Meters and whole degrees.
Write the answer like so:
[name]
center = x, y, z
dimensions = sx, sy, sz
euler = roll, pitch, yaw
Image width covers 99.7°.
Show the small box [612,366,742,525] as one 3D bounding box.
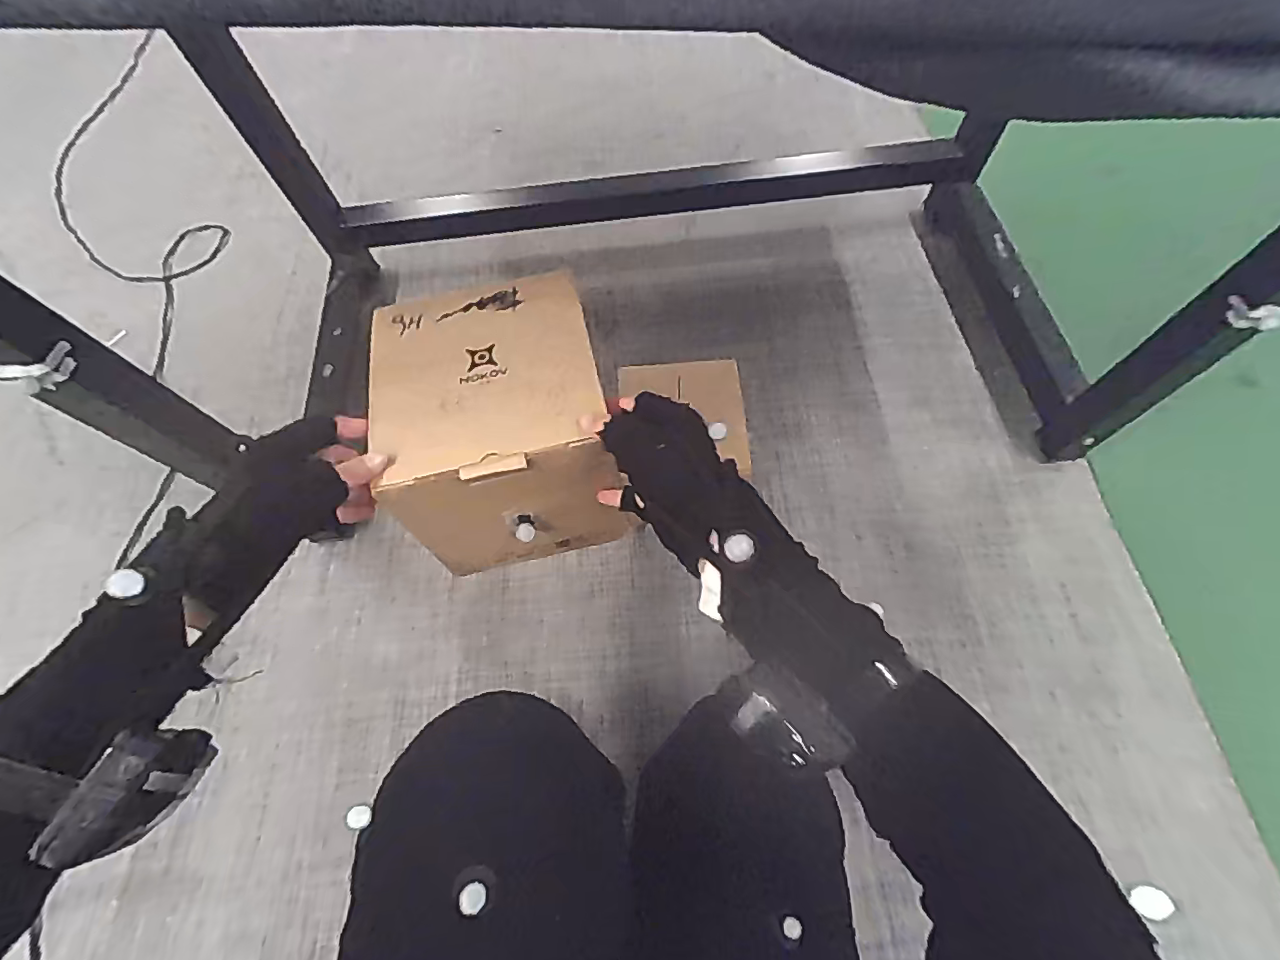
[small box]
center = 0.051, -0.040, 0.782
dimensions = 0.168, 0.176, 0.179
euler = -3, 63, 2
